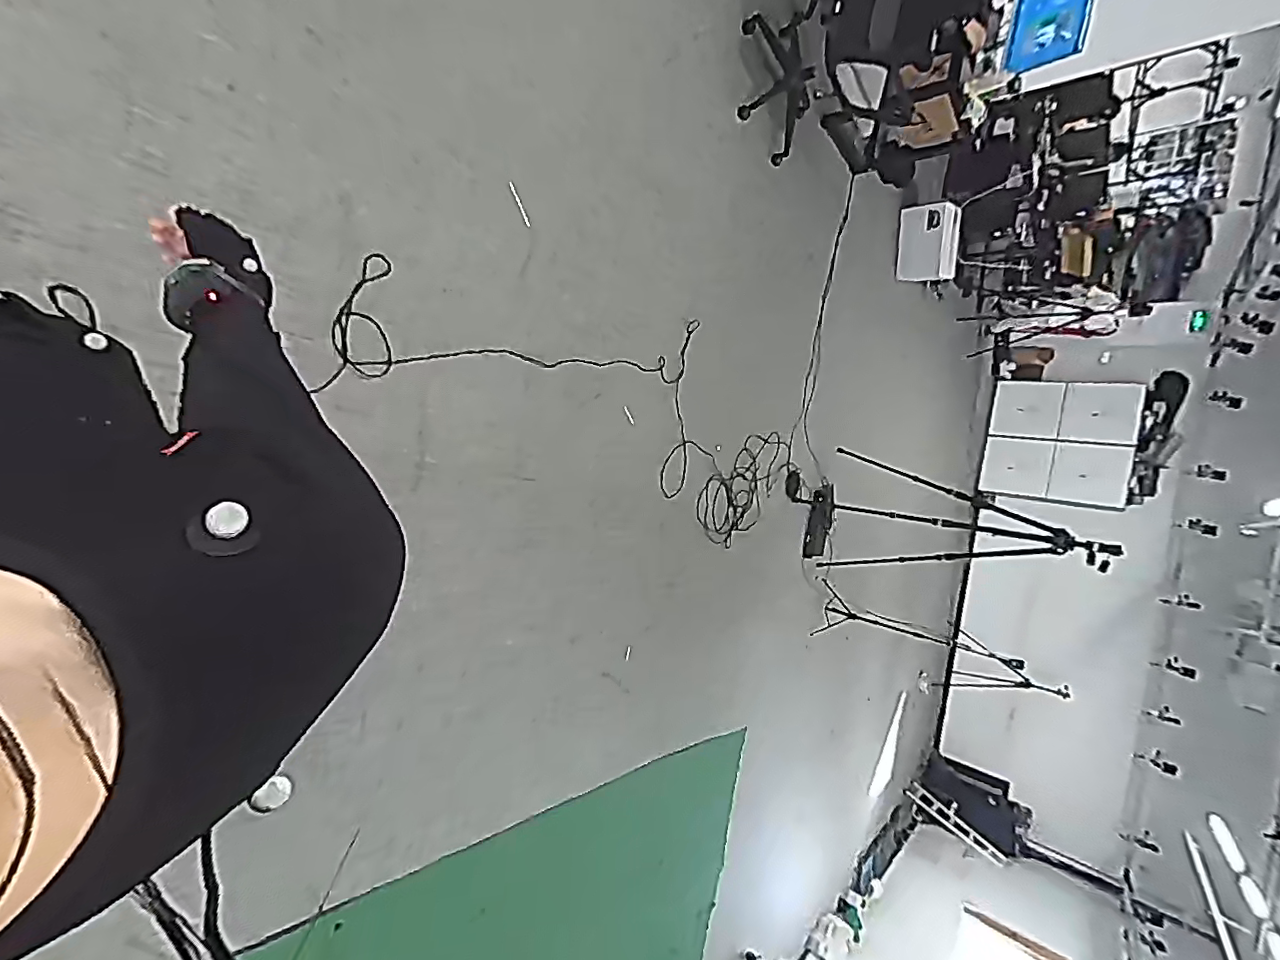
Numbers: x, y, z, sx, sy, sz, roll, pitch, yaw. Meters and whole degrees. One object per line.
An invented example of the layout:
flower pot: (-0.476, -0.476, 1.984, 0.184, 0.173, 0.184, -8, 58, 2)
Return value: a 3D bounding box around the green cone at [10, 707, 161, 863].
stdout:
green cone: (-1.024, 0.609, 1.027, 0.200, 0.368, 0.202, 15, 85, -50)
